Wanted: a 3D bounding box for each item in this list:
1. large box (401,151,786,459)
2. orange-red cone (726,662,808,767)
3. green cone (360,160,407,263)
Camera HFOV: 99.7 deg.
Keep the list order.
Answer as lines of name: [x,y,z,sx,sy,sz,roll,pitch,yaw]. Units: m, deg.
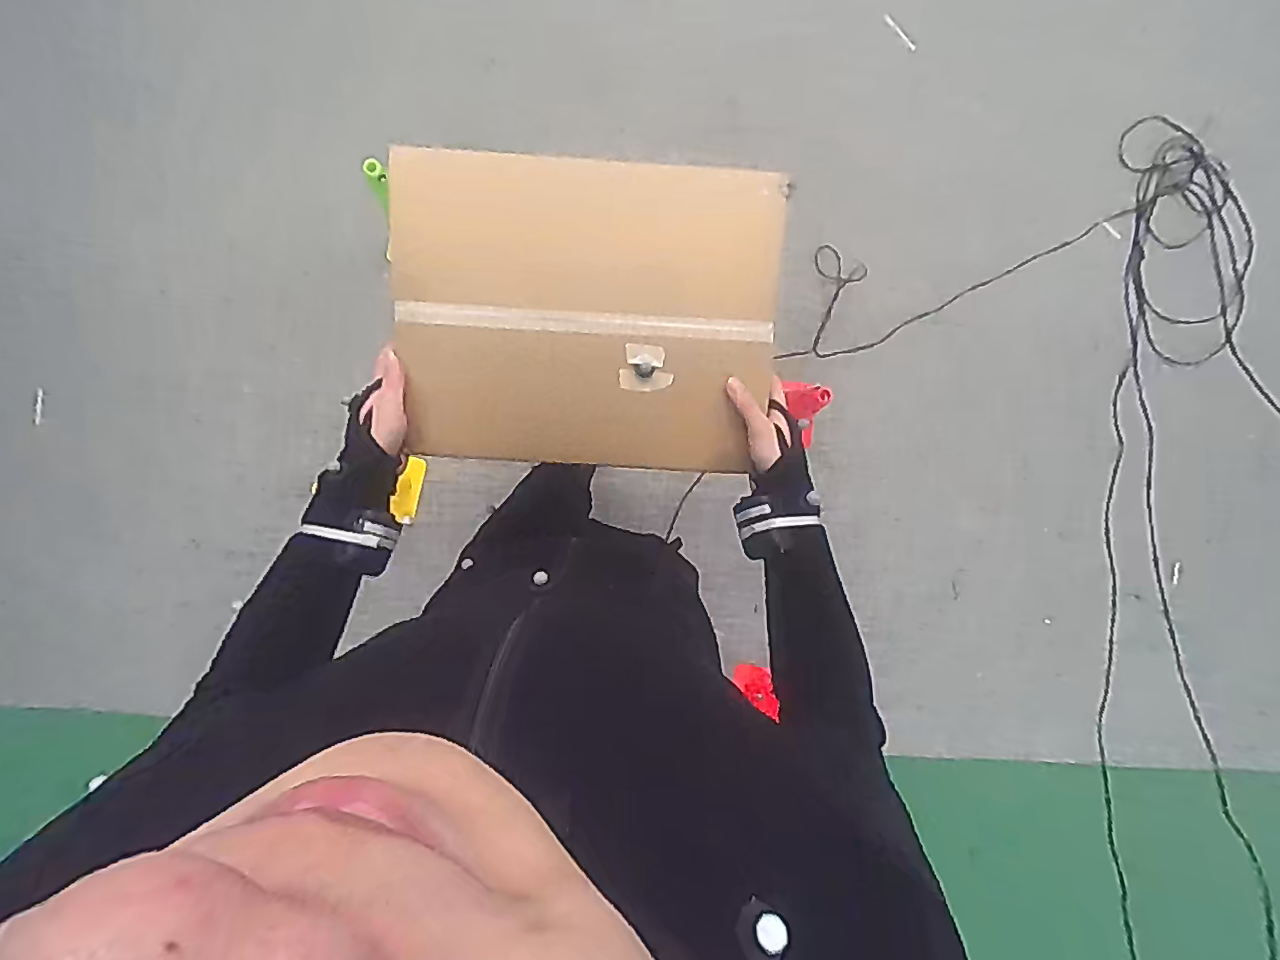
large box: [-0.056,-0.211,0.732,0.408,0.320,0.320,3,104,-2]
orange-red cone: [0.381,0.665,1.475,0.199,0.360,0.198,12,91,-4]
green cone: [-0.632,-0.727,1.419,0.200,0.368,0.202,10,92,-2]
